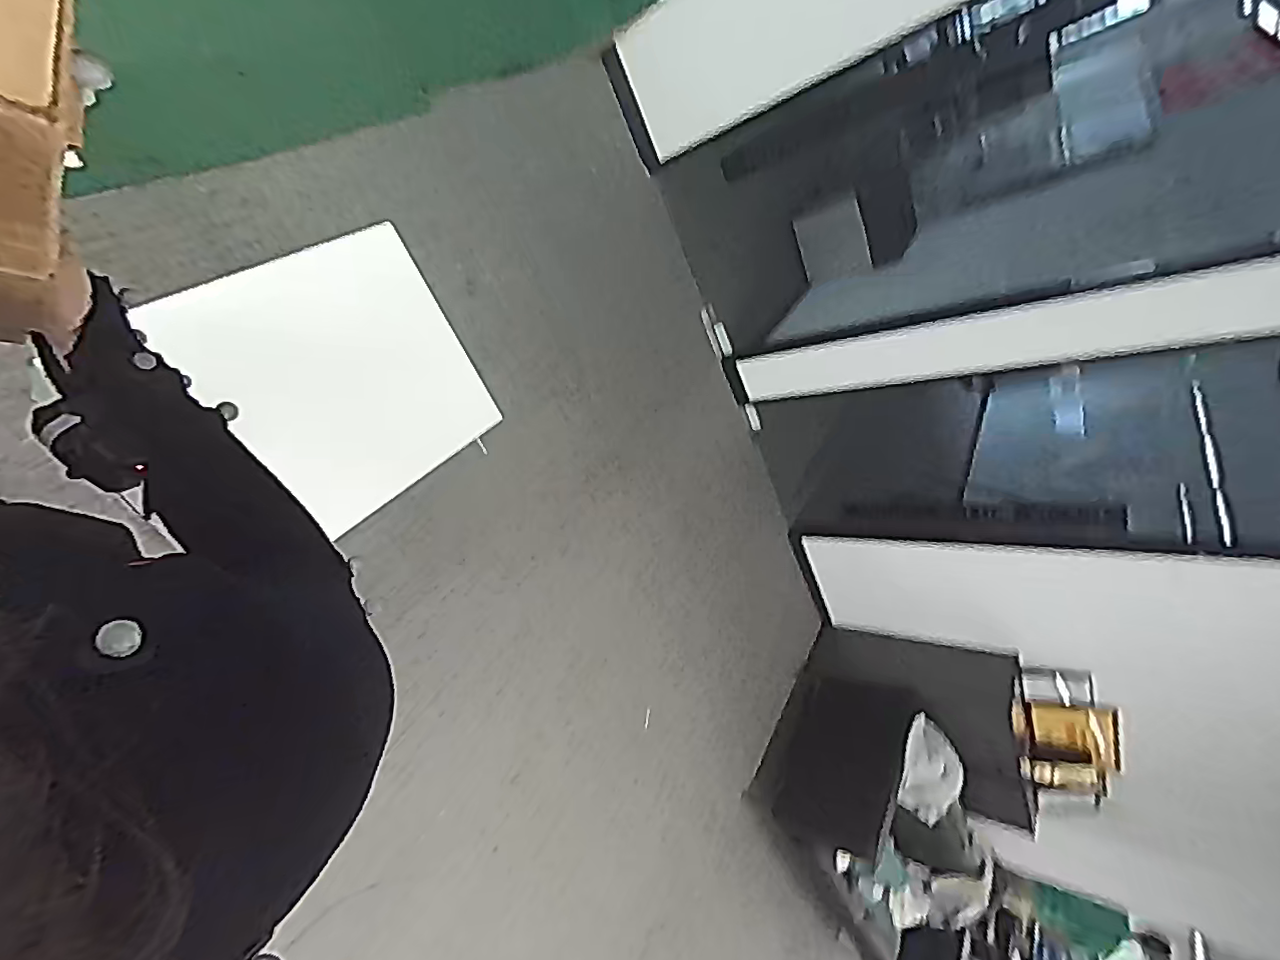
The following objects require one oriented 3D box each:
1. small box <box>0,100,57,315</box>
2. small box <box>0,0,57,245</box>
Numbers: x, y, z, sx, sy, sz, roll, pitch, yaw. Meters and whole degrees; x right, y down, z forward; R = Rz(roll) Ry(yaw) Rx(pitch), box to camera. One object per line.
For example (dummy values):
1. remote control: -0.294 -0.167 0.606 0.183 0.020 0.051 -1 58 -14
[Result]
1. small box: -0.367 -0.170 0.214 0.179 0.176 0.168 -2 94 -49
2. small box: -0.245 -0.166 0.107 0.179 0.176 0.168 1 92 -50
